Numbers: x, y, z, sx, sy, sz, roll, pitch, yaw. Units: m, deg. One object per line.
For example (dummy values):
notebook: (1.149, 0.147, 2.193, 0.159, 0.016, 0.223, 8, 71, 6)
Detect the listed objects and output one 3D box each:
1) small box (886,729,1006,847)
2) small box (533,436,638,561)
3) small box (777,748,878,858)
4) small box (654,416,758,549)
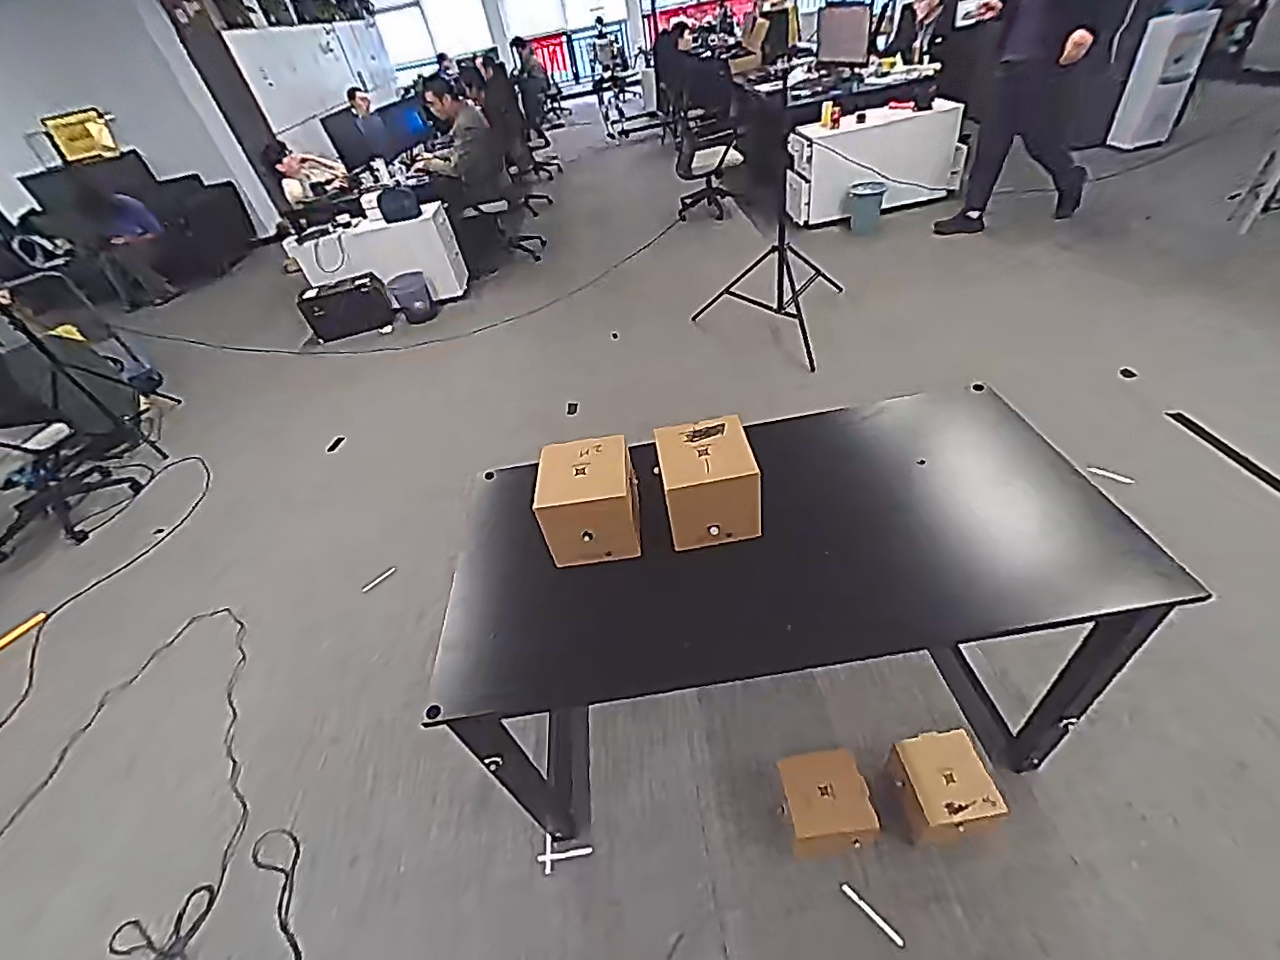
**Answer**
small box: (0.680, 0.699, 1.228, 0.168, 0.176, 0.179, -12, 41, 2)
small box: (-0.097, 0.042, 1.046, 0.168, 0.176, 0.179, -8, 41, 4)
small box: (0.422, 0.745, 1.245, 0.179, 0.176, 0.168, -11, 41, 3)
small box: (0.124, 0.006, 1.033, 0.168, 0.176, 0.179, -11, 42, 2)
